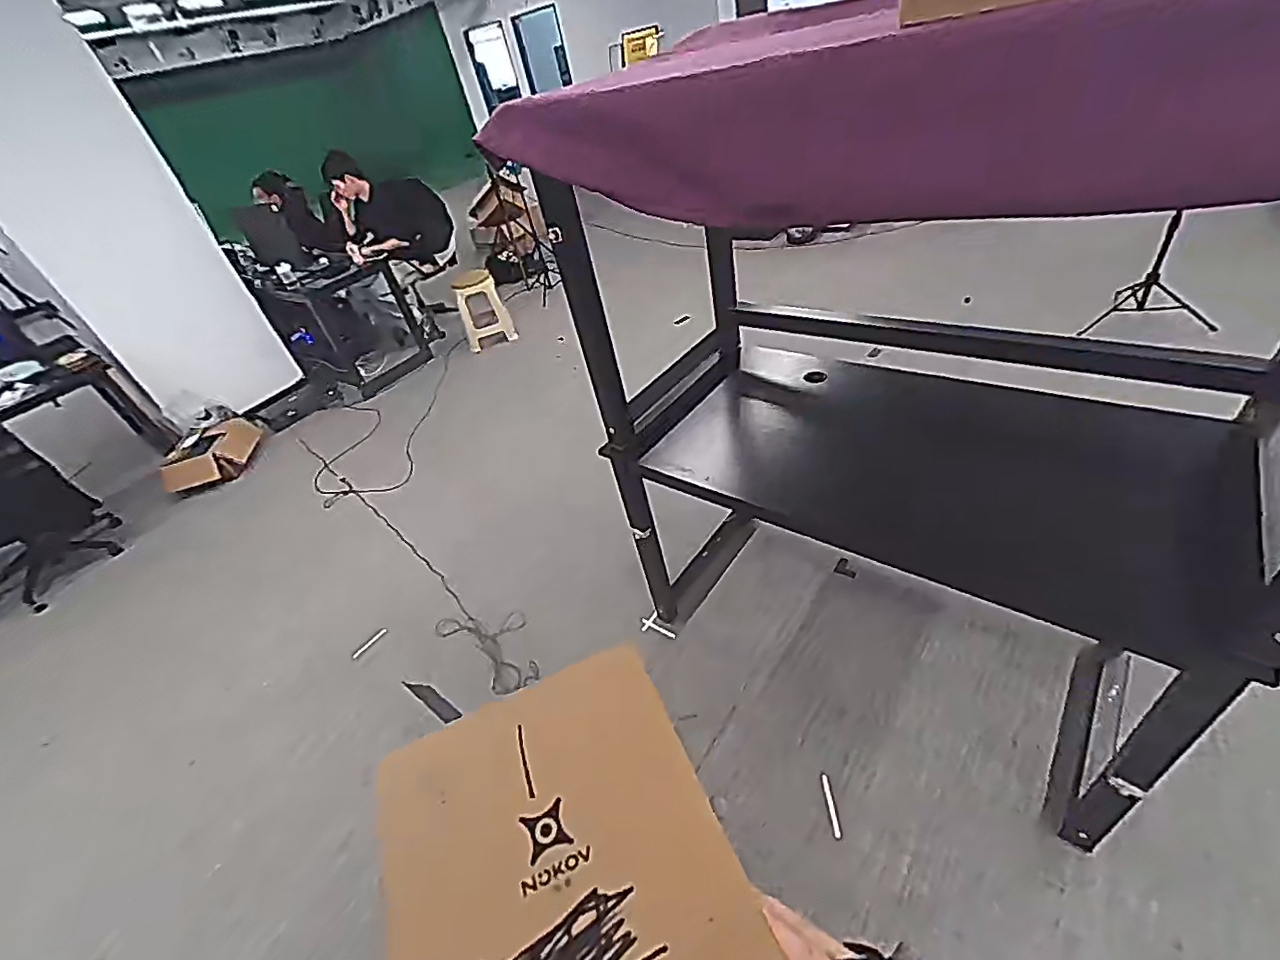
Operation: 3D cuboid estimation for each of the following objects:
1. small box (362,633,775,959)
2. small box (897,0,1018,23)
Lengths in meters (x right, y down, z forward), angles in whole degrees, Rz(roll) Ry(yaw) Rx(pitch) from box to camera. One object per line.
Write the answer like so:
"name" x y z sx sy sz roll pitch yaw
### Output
"small box" -0.039 0.233 0.325 0.168 0.176 0.179 -23 48 -13
"small box" 0.383 -0.590 0.540 0.179 0.176 0.168 23 51 37
